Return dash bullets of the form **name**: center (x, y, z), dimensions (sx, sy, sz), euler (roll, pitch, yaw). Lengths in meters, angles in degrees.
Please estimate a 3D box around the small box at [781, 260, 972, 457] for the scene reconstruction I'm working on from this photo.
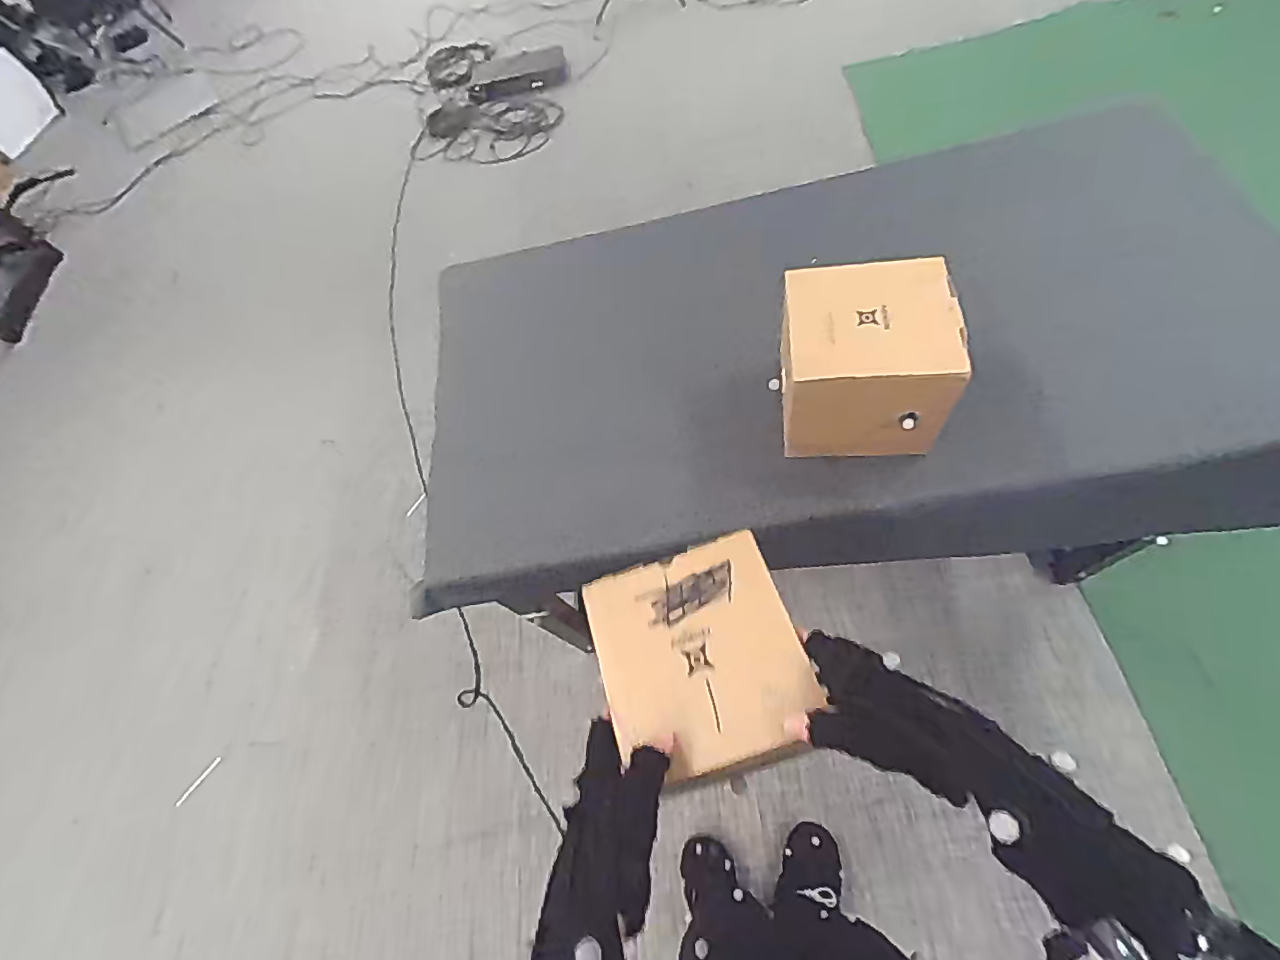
- **small box**: center (0.271, -0.140, 0.665), dimensions (0.179, 0.176, 0.168), euler (-2, 62, 12)

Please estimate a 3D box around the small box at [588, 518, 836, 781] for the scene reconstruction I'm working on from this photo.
- **small box**: center (0.064, 0.169, 0.518), dimensions (0.168, 0.176, 0.179), euler (-19, 57, 1)
